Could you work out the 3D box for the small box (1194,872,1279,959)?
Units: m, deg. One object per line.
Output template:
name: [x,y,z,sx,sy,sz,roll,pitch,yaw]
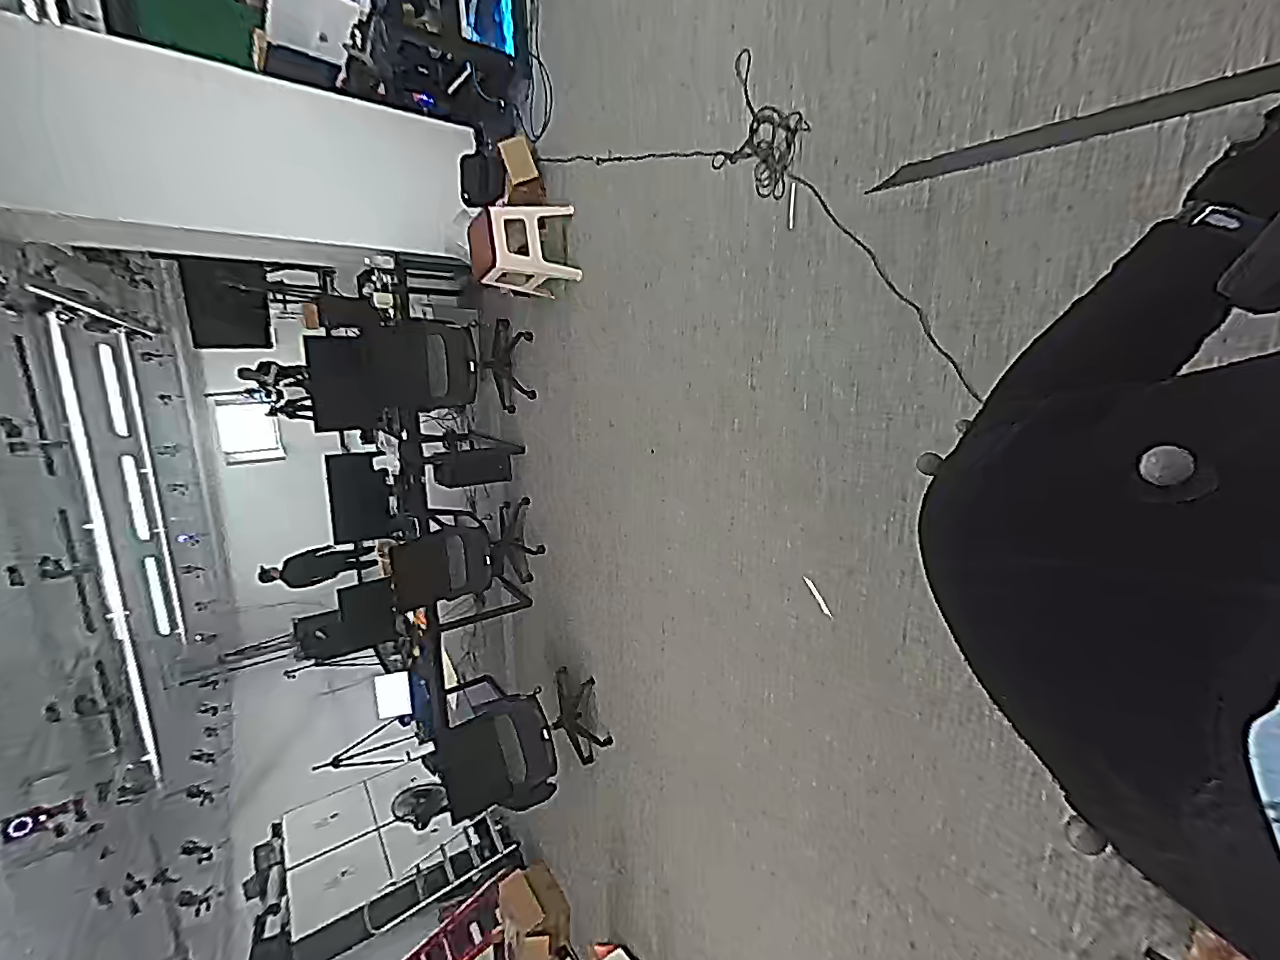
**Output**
small box: [1.206,0.917,1.042,0.168,0.176,0.179,14,109,53]
